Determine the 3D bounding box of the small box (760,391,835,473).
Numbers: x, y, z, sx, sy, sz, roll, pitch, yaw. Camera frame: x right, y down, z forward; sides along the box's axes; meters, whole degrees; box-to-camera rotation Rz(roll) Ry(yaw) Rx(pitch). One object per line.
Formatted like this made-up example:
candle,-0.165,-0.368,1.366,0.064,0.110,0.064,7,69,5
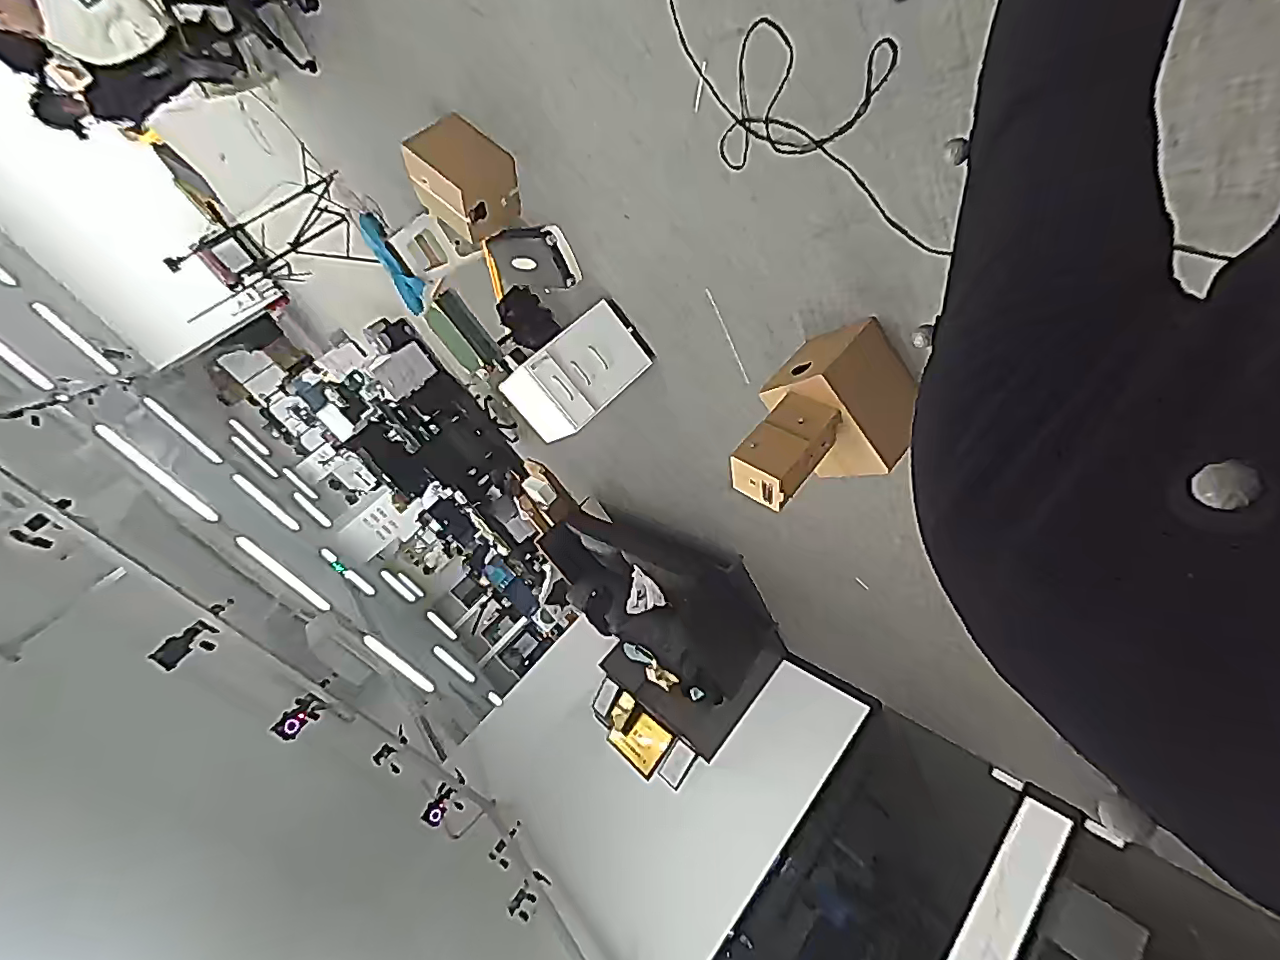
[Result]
small box,0.506,-0.161,1.739,0.179,0.176,0.168,29,154,31
